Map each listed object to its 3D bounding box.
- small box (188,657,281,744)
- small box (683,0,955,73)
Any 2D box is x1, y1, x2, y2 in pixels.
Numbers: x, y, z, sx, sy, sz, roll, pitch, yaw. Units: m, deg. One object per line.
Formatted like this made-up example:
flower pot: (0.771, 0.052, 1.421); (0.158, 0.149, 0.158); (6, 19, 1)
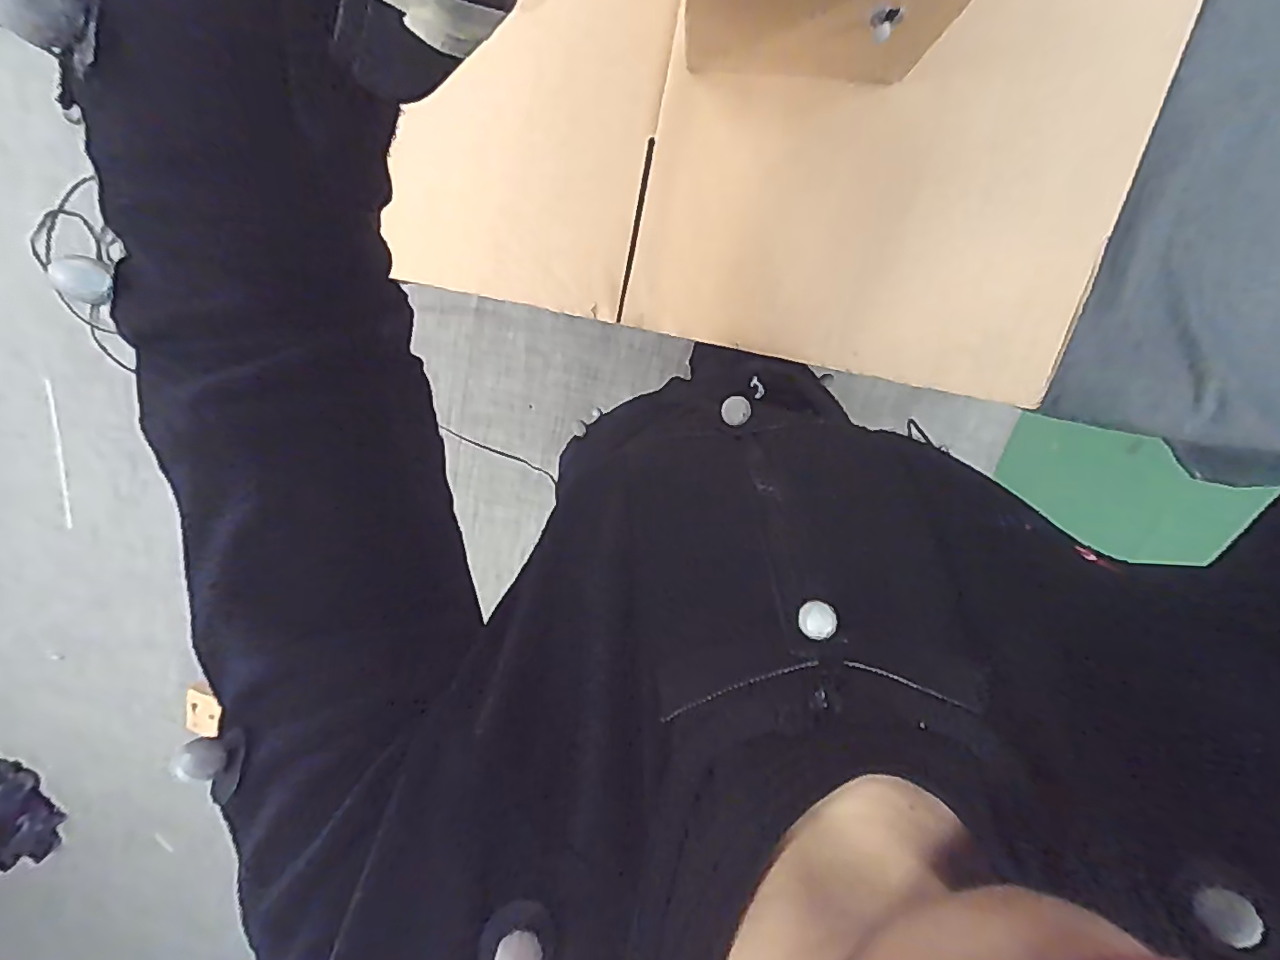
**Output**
small box: (-1.273, 0.688, 1.704); (0.179, 0.176, 0.168); (17, 109, -1)
small box: (0.121, -0.383, 0.331); (0.179, 0.176, 0.168); (5, 105, 3)
